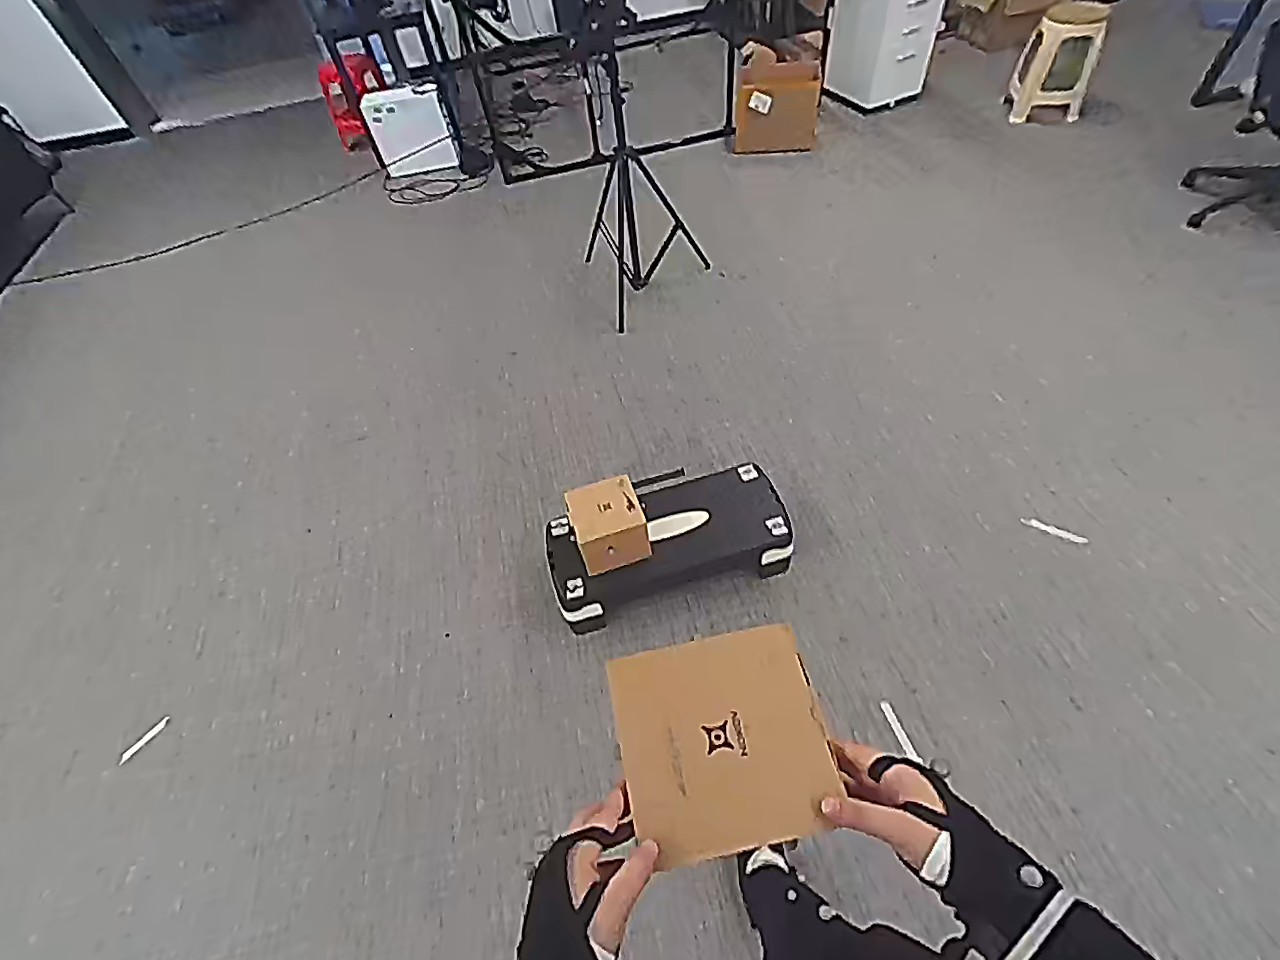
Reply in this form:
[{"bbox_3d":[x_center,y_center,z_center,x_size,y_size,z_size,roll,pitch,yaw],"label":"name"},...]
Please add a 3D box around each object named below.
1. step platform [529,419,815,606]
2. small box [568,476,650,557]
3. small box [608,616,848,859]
[{"bbox_3d":[0.078,0.084,1.378,0.684,0.204,0.286,-15,52,-5],"label":"step platform"},{"bbox_3d":[-0.080,0.123,1.414,0.179,0.176,0.168,-18,53,-6],"label":"small box"},{"bbox_3d":[0.075,0.252,0.541,0.179,0.176,0.168,-13,61,-2],"label":"small box"}]
